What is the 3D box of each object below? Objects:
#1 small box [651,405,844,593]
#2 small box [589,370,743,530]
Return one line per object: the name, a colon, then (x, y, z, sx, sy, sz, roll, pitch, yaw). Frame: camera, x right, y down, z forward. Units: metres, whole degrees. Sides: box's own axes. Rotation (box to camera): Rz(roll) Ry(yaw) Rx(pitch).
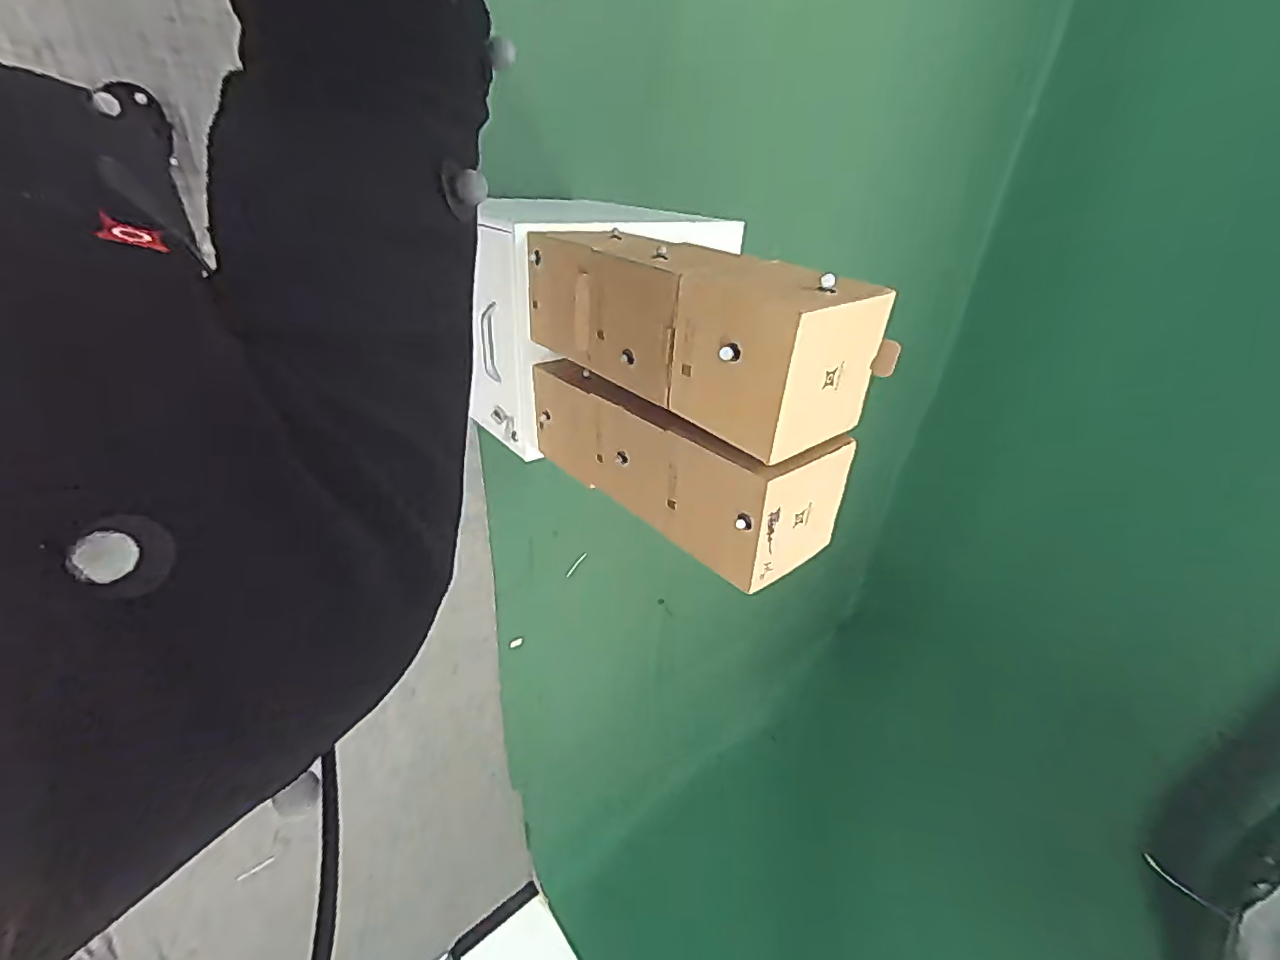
small box: (0.138, 0.012, 0.726, 0.179, 0.176, 0.168, -23, 128, -36)
small box: (0.032, -0.055, 0.831, 0.179, 0.176, 0.168, -24, 130, -34)
